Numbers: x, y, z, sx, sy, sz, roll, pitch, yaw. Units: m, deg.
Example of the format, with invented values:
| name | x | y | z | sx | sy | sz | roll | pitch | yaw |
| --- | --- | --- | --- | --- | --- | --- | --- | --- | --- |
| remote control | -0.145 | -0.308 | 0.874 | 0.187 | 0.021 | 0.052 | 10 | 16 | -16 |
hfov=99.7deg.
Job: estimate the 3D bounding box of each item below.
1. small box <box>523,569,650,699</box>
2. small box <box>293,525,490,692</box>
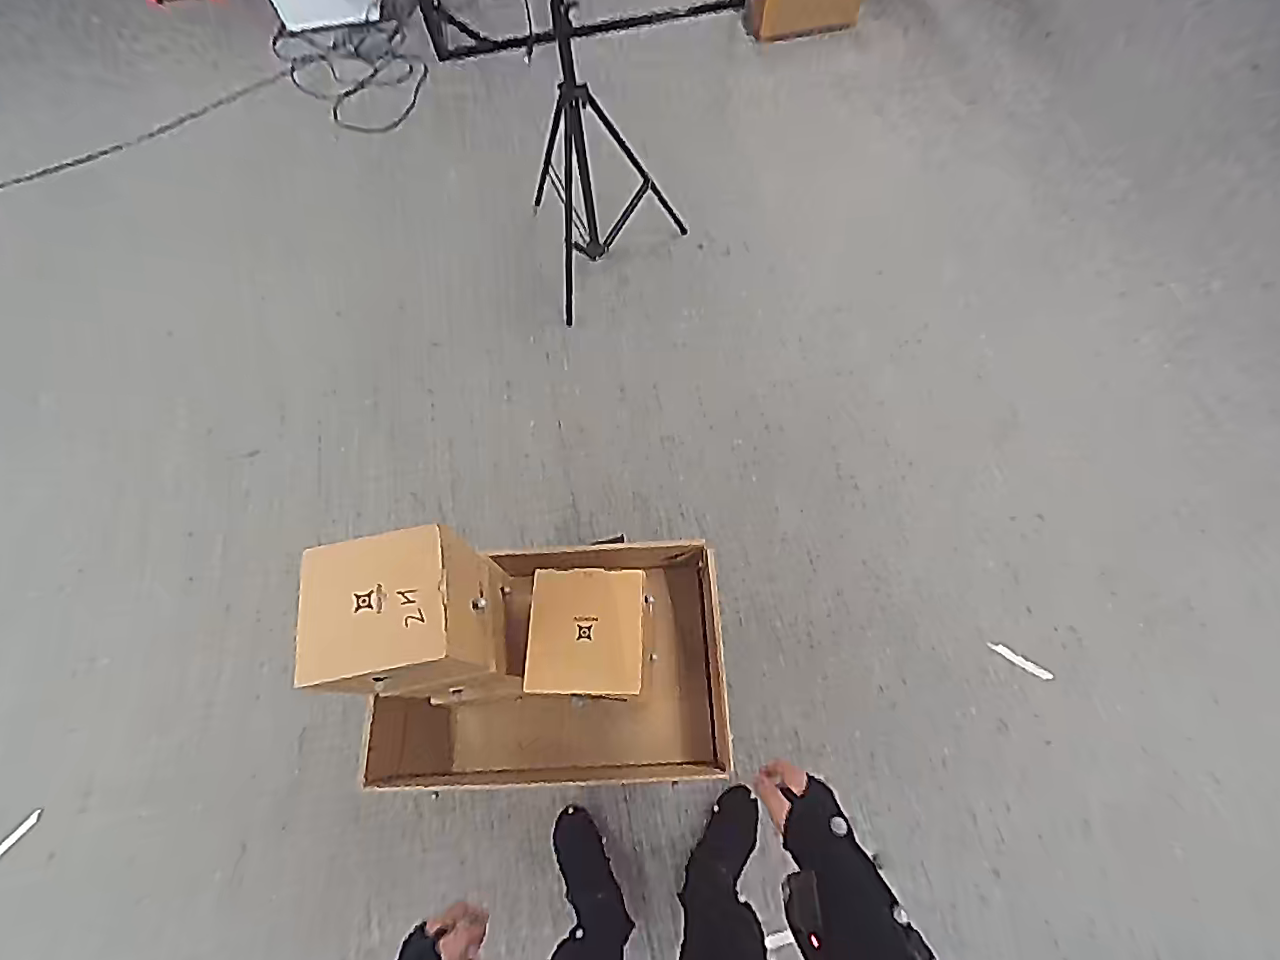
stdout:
| name | x | y | z | sx | sy | sz | roll | pitch | yaw |
| --- | --- | --- | --- | --- | --- | --- | --- | --- | --- |
| small box | -0.072 | 0.245 | 0.844 | 0.168 | 0.176 | 0.179 | 0 | 66 | 5 |
| small box | -0.311 | 0.175 | 0.707 | 0.179 | 0.176 | 0.168 | -11 | 67 | -2 |
